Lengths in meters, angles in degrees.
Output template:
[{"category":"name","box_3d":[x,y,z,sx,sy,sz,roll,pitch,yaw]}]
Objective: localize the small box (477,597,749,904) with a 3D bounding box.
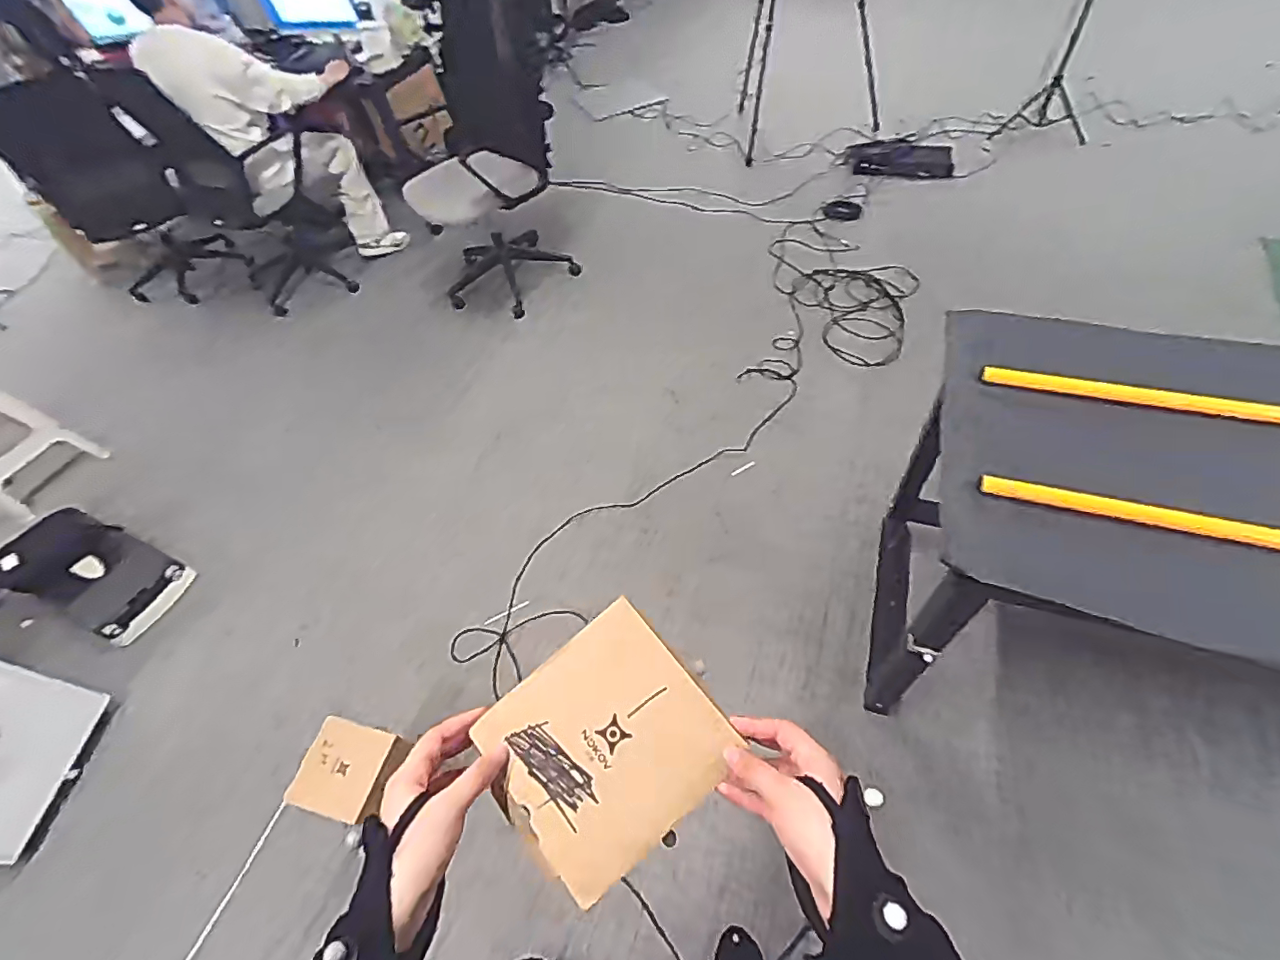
[{"category":"small box","box_3d":[-0.016,0.243,0.521,0.179,0.176,0.168,-39,70,-10]}]

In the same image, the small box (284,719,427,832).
[{"category":"small box","box_3d":[-0.591,0.633,1.153,0.179,0.176,0.168,8,55,15]}]

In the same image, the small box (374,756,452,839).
[{"category":"small box","box_3d":[-0.579,0.733,1.284,0.179,0.176,0.168,9,56,15]}]
